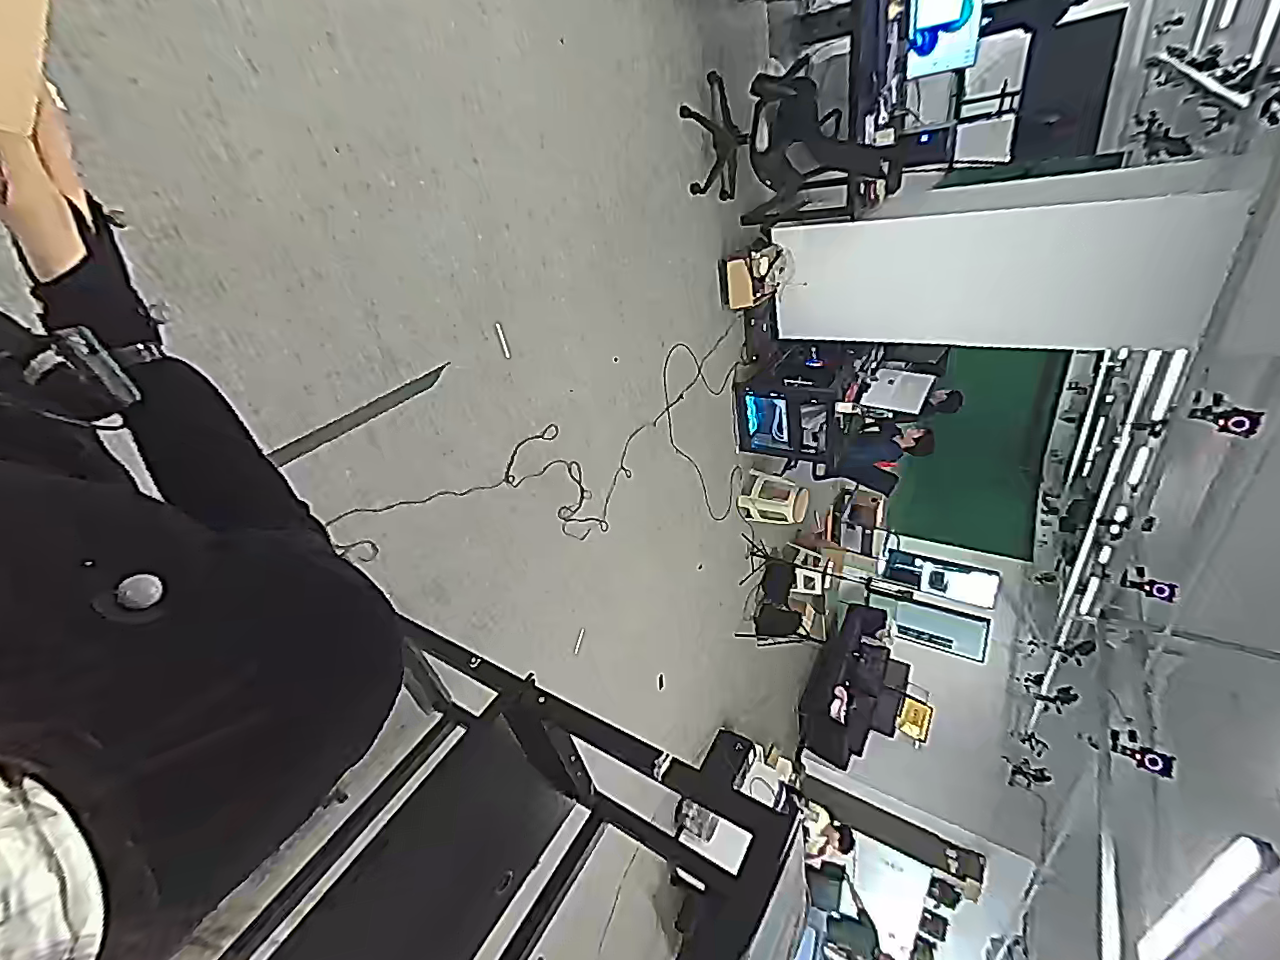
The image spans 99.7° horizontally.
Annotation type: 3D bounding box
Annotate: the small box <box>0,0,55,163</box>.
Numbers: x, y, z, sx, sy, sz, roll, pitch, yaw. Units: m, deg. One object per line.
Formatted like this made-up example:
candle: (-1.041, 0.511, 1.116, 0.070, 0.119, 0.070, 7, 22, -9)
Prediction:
small box: (-0.499, -0.312, 0.306, 0.168, 0.176, 0.179, -7, 104, -79)
